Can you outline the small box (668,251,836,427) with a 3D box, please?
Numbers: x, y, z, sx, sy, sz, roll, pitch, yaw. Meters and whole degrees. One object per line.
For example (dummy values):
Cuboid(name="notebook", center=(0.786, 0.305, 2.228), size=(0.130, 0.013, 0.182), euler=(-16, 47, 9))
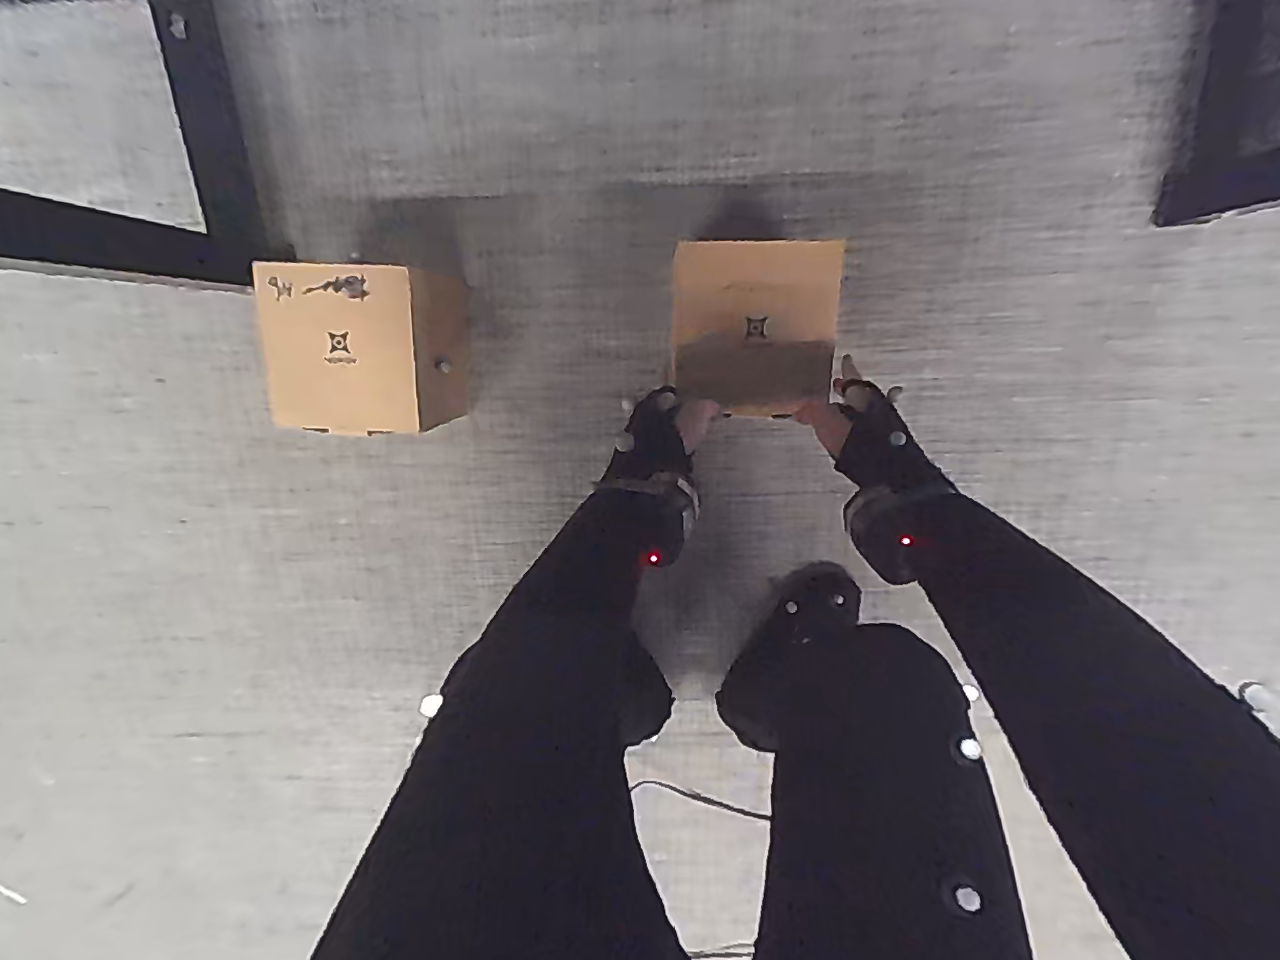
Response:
Cuboid(name="small box", center=(0.118, -0.159, 0.634), size=(0.168, 0.176, 0.179), euler=(-1, 102, 2))
